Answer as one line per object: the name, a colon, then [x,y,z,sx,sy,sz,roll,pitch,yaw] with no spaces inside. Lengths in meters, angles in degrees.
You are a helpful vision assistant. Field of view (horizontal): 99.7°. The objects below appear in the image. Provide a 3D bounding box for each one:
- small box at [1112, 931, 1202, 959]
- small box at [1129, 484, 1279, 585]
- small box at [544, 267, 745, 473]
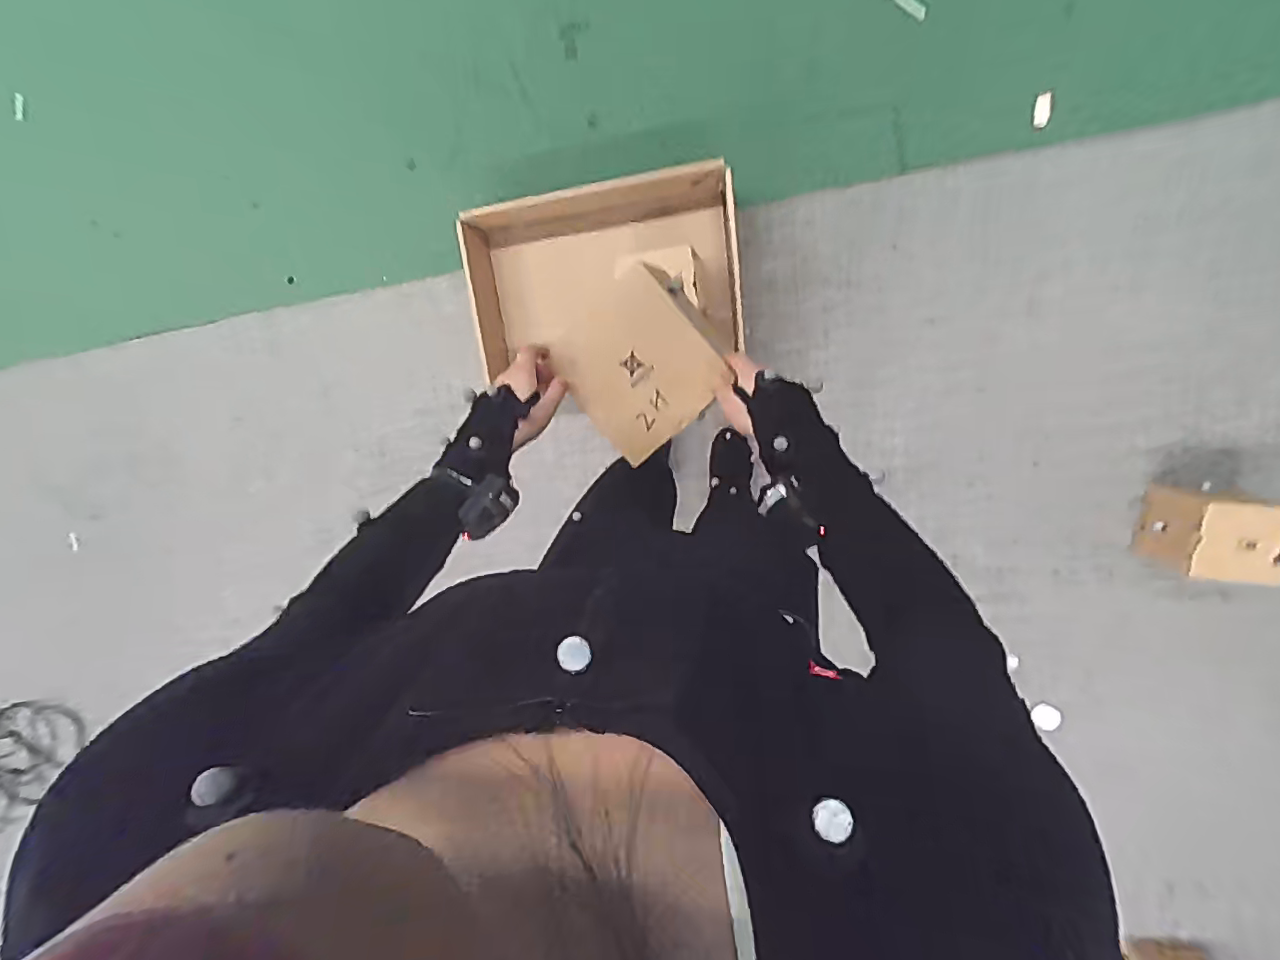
small box: [1.410,1.352,1.439,0.179,0.176,0.168,-6,101,13]
small box: [1.228,0.109,1.176,0.179,0.176,0.168,6,104,10]
small box: [0.016,-0.141,0.687,0.168,0.176,0.179,-39,96,22]
